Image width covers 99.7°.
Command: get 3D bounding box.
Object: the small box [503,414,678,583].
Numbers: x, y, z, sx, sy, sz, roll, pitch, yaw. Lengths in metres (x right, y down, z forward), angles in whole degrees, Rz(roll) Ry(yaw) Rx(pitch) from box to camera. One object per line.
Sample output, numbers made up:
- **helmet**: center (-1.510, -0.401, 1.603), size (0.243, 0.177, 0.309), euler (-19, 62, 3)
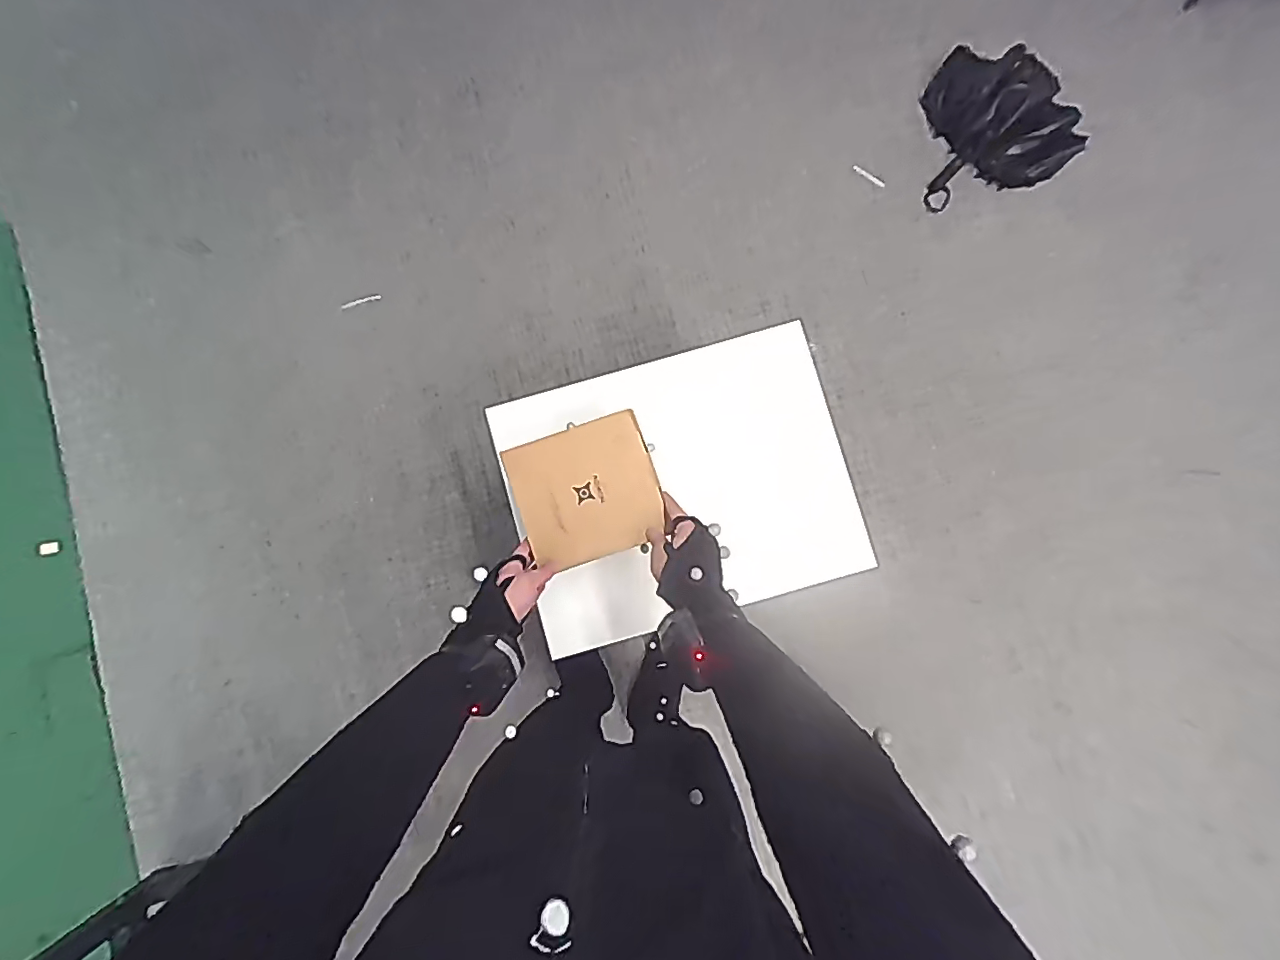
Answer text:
- **small box**: center (-0.061, 0.028, 0.729), size (0.179, 0.176, 0.168), euler (-19, 84, -2)
